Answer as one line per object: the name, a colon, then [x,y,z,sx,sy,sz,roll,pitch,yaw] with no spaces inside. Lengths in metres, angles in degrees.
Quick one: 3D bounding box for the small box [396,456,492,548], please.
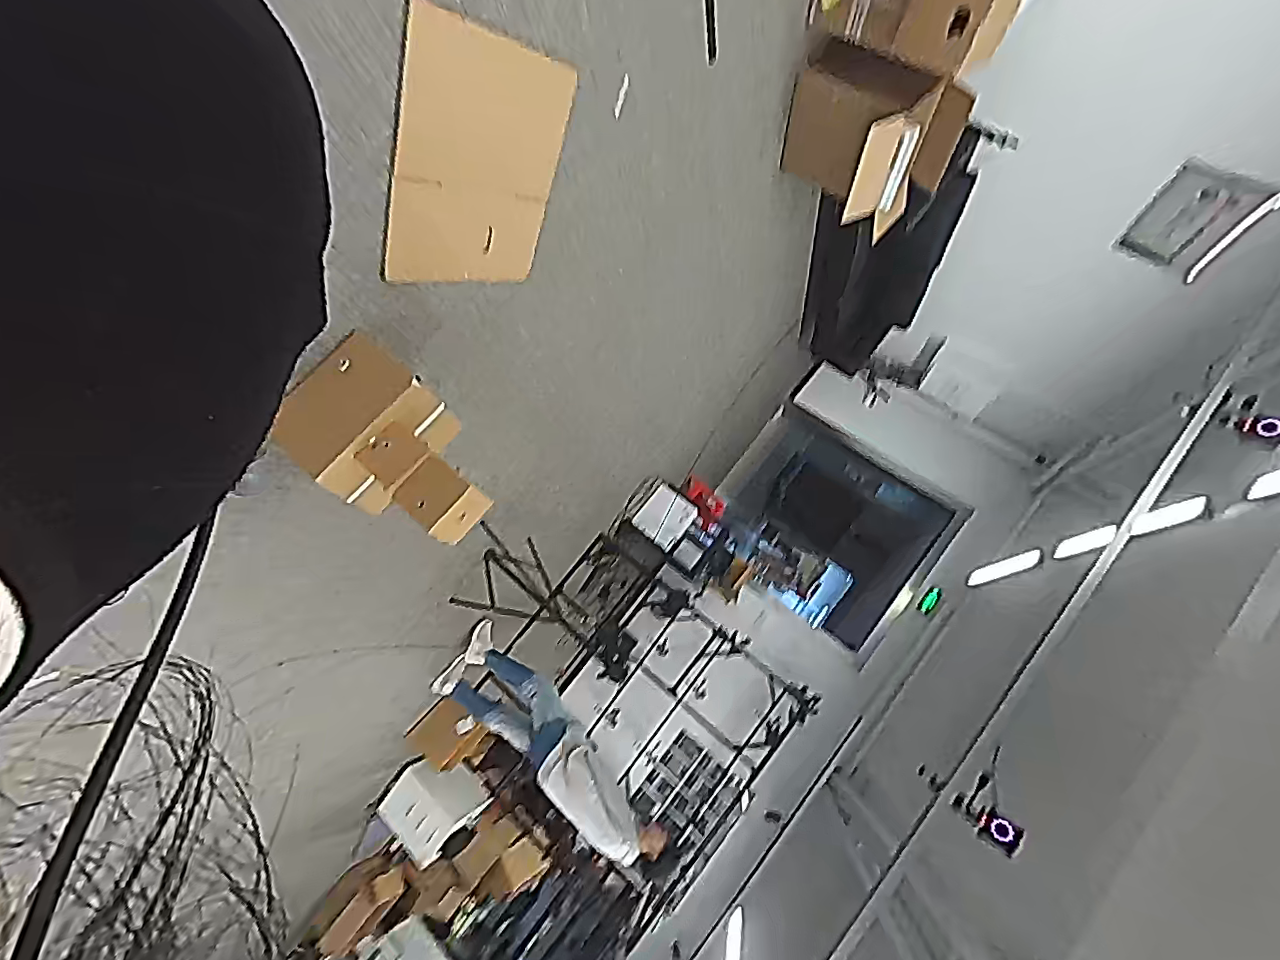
small box: [-0.574,0.064,1.571,0.179,0.176,0.168,-50,162,-11]
